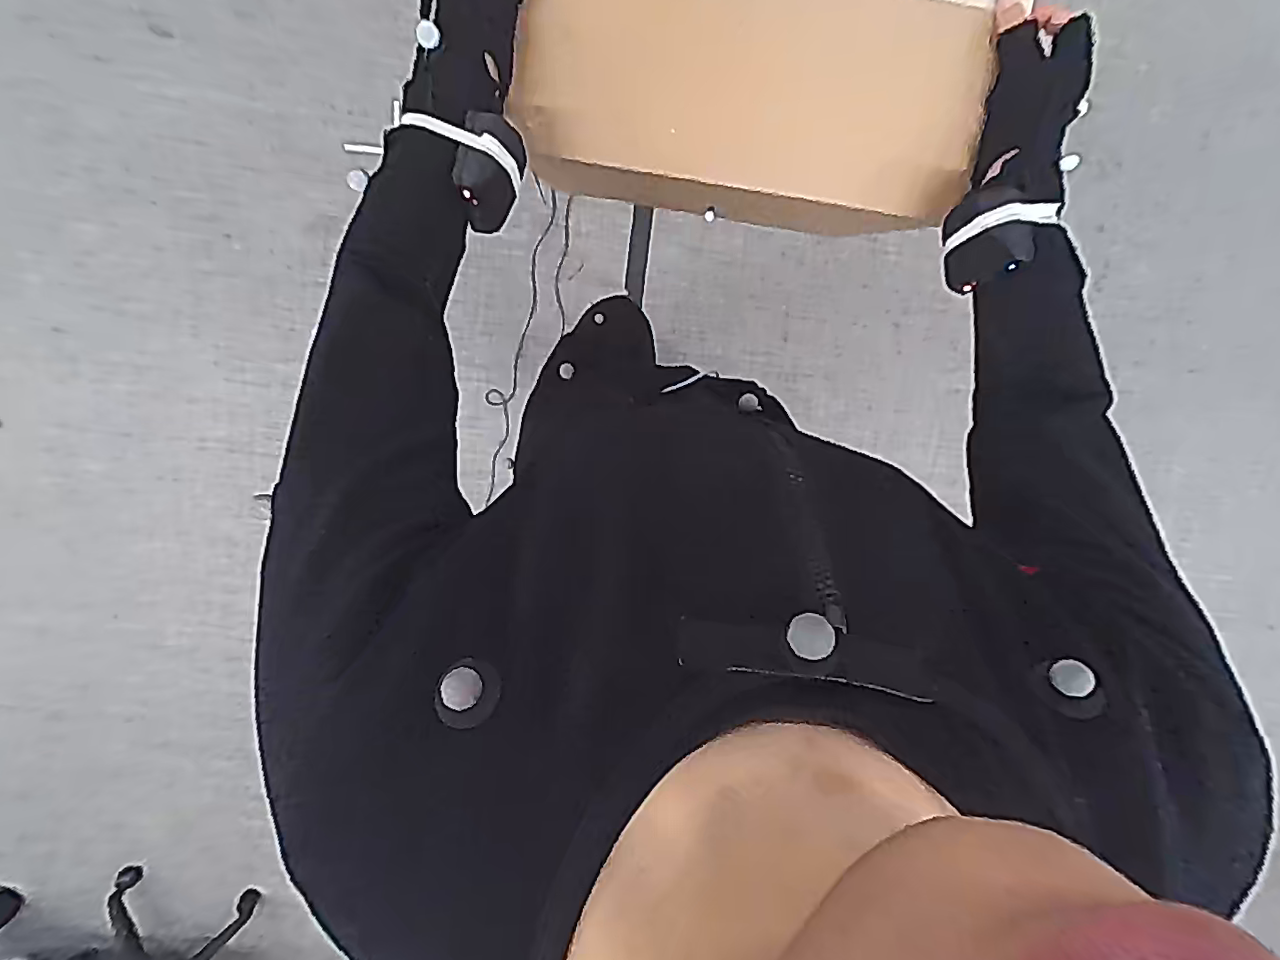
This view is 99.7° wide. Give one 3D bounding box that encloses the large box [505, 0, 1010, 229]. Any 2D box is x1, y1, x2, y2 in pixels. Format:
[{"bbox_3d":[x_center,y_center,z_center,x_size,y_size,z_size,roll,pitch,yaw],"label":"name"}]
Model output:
[{"bbox_3d":[0.101,-0.459,0.560,0.408,0.320,0.320,8,111,-3],"label":"large box"}]
